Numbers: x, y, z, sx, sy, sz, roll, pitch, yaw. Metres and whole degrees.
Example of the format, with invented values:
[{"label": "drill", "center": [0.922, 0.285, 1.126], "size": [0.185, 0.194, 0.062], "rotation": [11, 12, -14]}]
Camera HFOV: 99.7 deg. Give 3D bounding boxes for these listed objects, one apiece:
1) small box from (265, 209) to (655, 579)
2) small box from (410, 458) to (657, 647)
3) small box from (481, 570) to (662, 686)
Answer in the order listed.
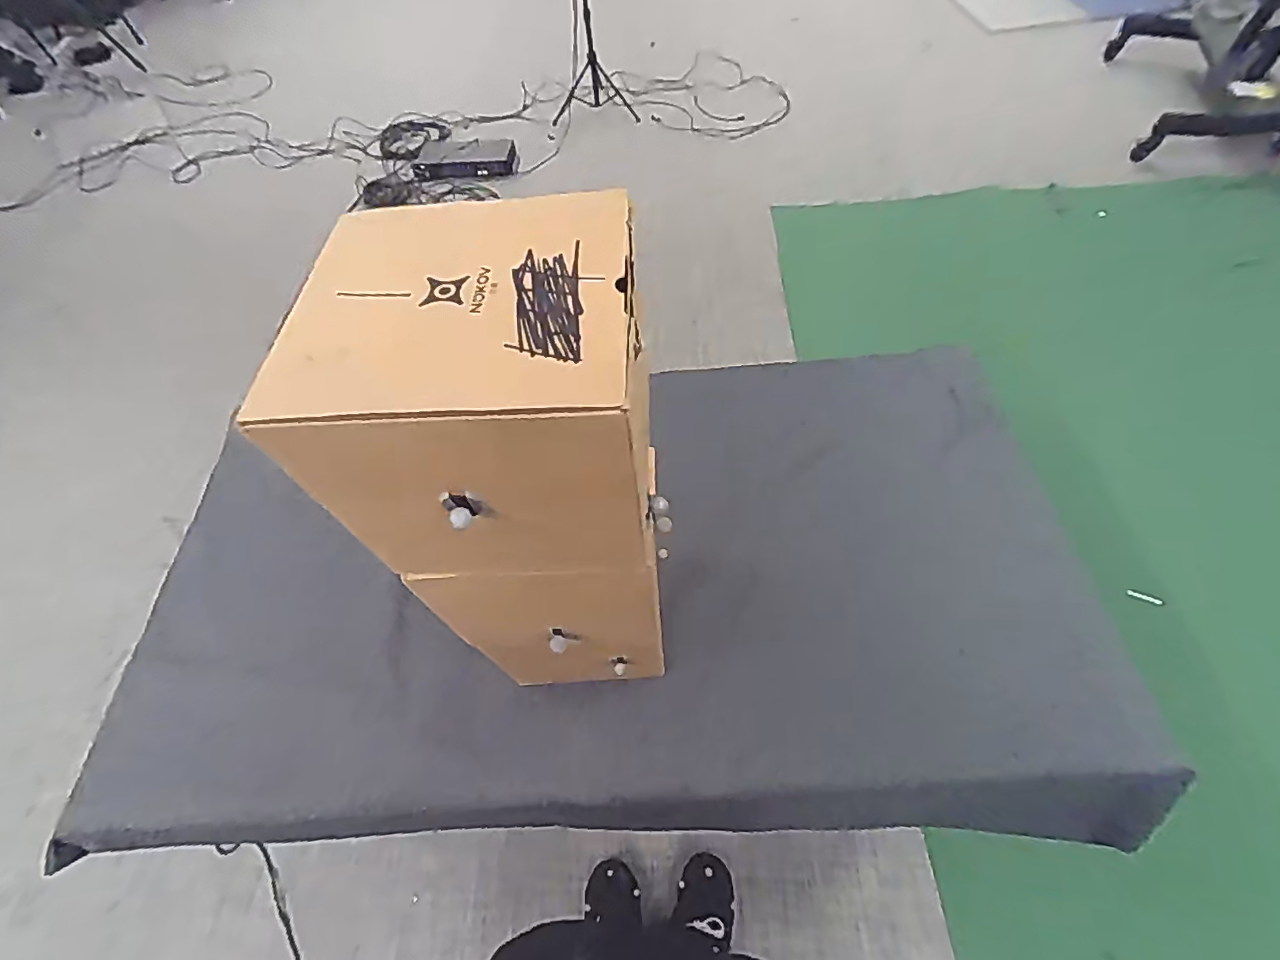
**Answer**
[{"label": "small box", "center": [-0.084, -0.046, 0.350], "size": [0.179, 0.176, 0.168], "rotation": [-4, 57, -1]}, {"label": "small box", "center": [-0.075, 0.045, 0.488], "size": [0.179, 0.176, 0.168], "rotation": [-3, 56, 1]}, {"label": "small box", "center": [-0.066, 0.131, 0.626], "size": [0.179, 0.176, 0.168], "rotation": [-6, 56, 2]}]
